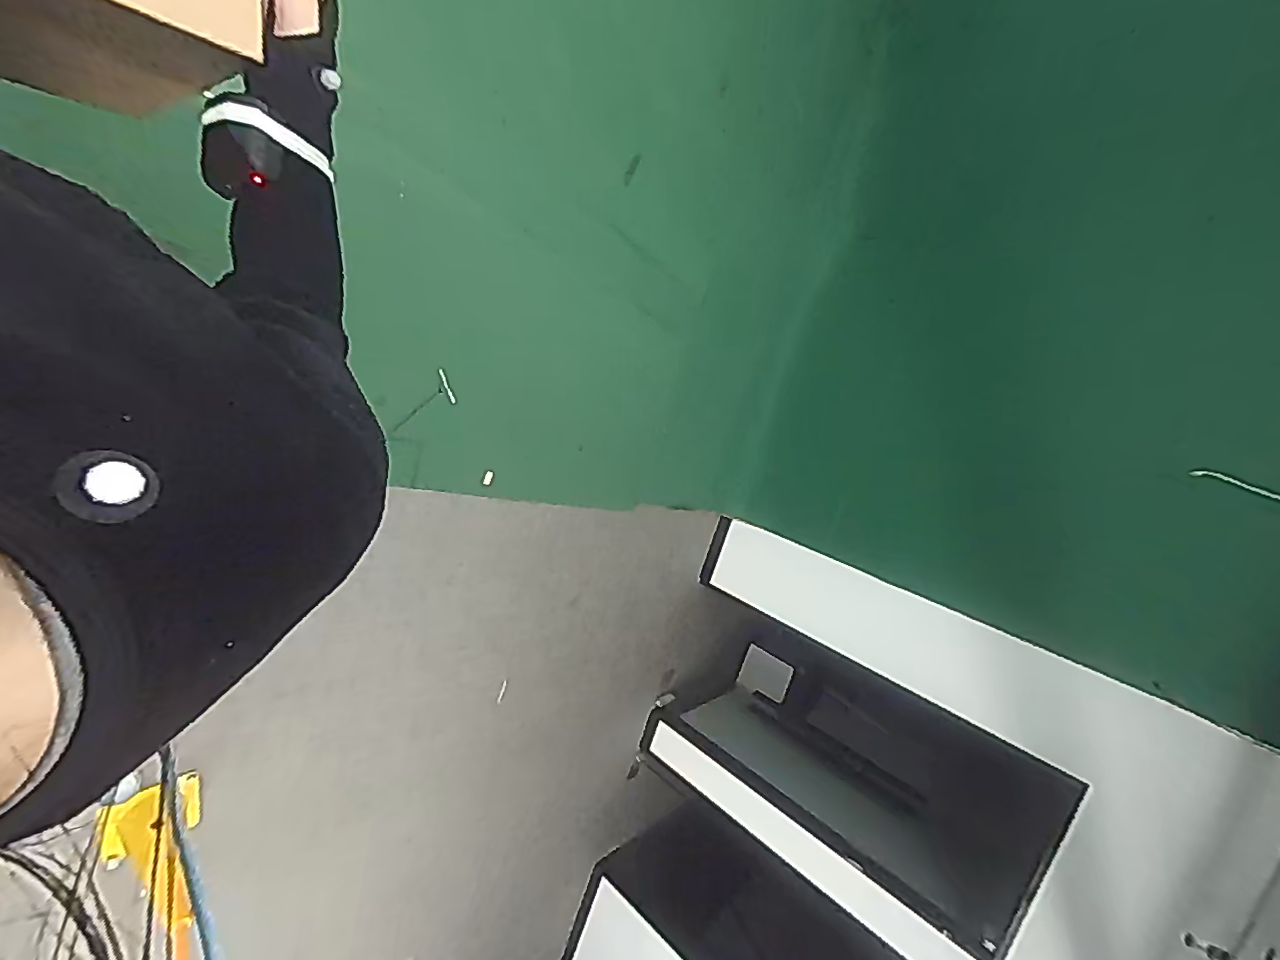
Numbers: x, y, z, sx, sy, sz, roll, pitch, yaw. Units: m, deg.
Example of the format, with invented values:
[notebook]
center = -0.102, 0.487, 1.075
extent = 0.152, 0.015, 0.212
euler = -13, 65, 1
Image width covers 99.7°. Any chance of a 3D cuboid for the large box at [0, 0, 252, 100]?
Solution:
[large box]
center = -0.521, -0.485, 0.311
extent = 0.408, 0.320, 0.320
euler = -13, 113, -52
